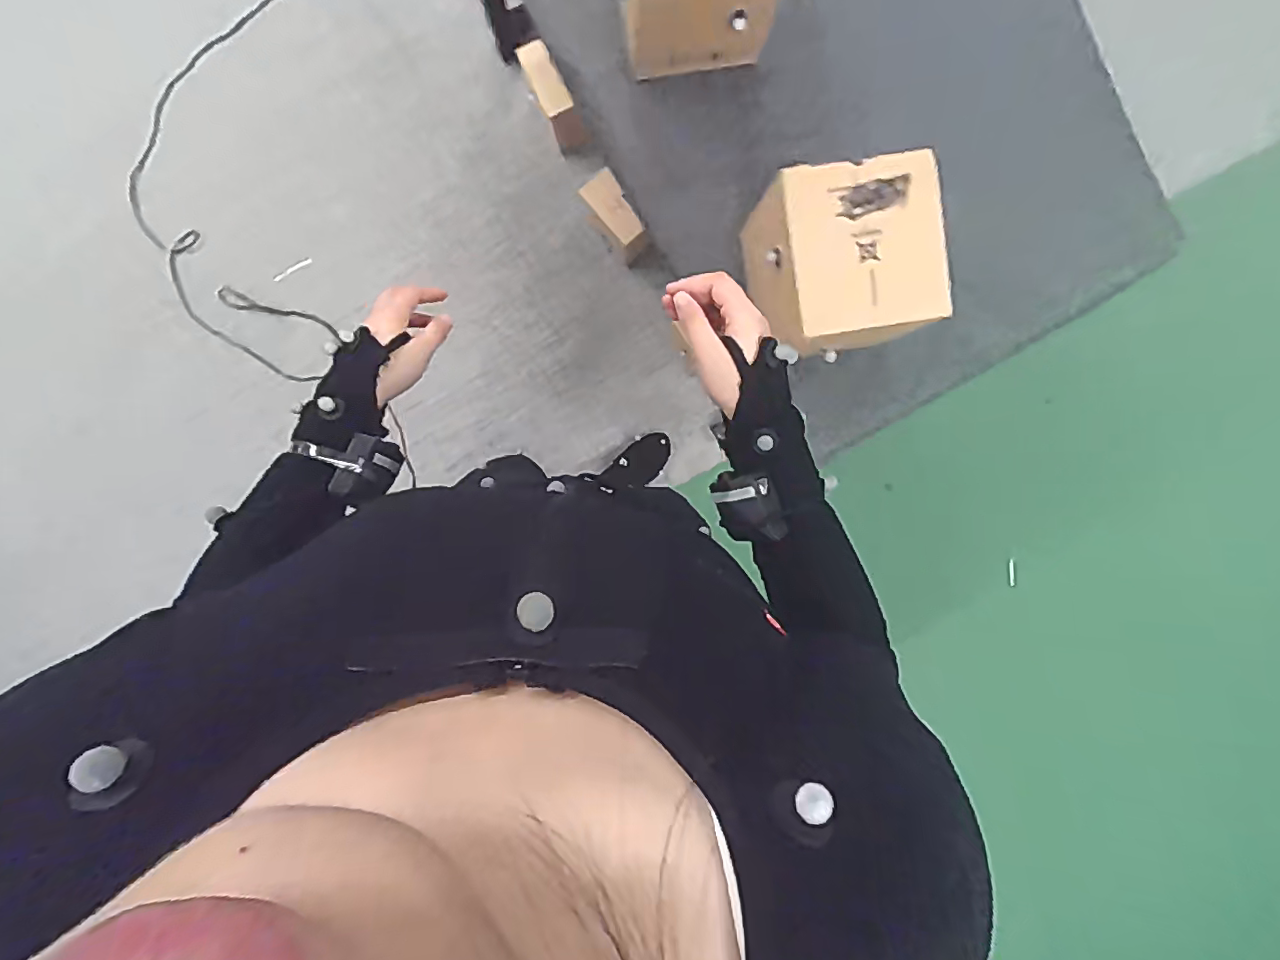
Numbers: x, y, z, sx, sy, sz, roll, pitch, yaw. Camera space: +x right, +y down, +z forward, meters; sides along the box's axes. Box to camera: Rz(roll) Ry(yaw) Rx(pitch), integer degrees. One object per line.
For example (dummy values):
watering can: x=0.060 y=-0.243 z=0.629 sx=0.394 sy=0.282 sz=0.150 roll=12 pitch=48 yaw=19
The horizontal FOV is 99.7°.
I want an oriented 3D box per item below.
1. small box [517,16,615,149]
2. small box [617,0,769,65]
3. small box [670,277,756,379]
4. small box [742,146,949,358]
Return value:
small box: x=-0.170 y=-0.949 z=1.310 sx=0.179 sy=0.176 sz=0.168 roll=-26 pitch=95 yaw=1
small box: x=0.058 y=-0.612 z=0.612 sx=0.168 sy=0.176 sz=0.179 roll=-10 pitch=94 yaw=-4
small box: x=0.188 y=-0.373 z=1.366 sx=0.179 sy=0.176 sz=0.168 roll=-35 pitch=95 yaw=2
small box: x=0.229 y=-0.255 z=0.643 sx=0.168 sy=0.176 sz=0.179 roll=-9 pitch=94 yaw=-3
